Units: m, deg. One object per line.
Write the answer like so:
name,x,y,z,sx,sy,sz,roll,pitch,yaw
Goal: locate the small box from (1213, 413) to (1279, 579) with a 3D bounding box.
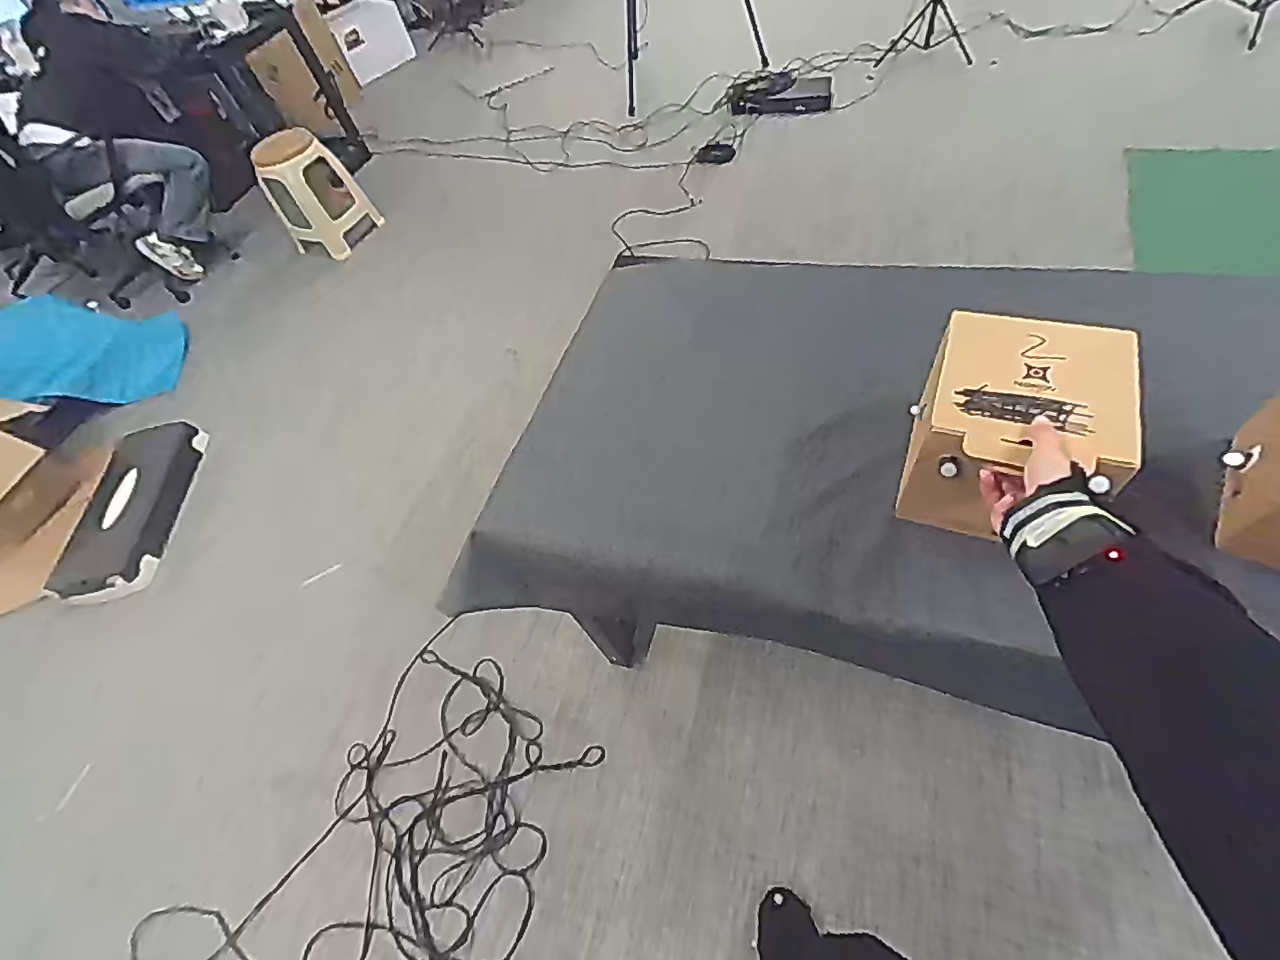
small box,0.698,0.009,0.495,0.179,0.176,0.168,23,62,27
